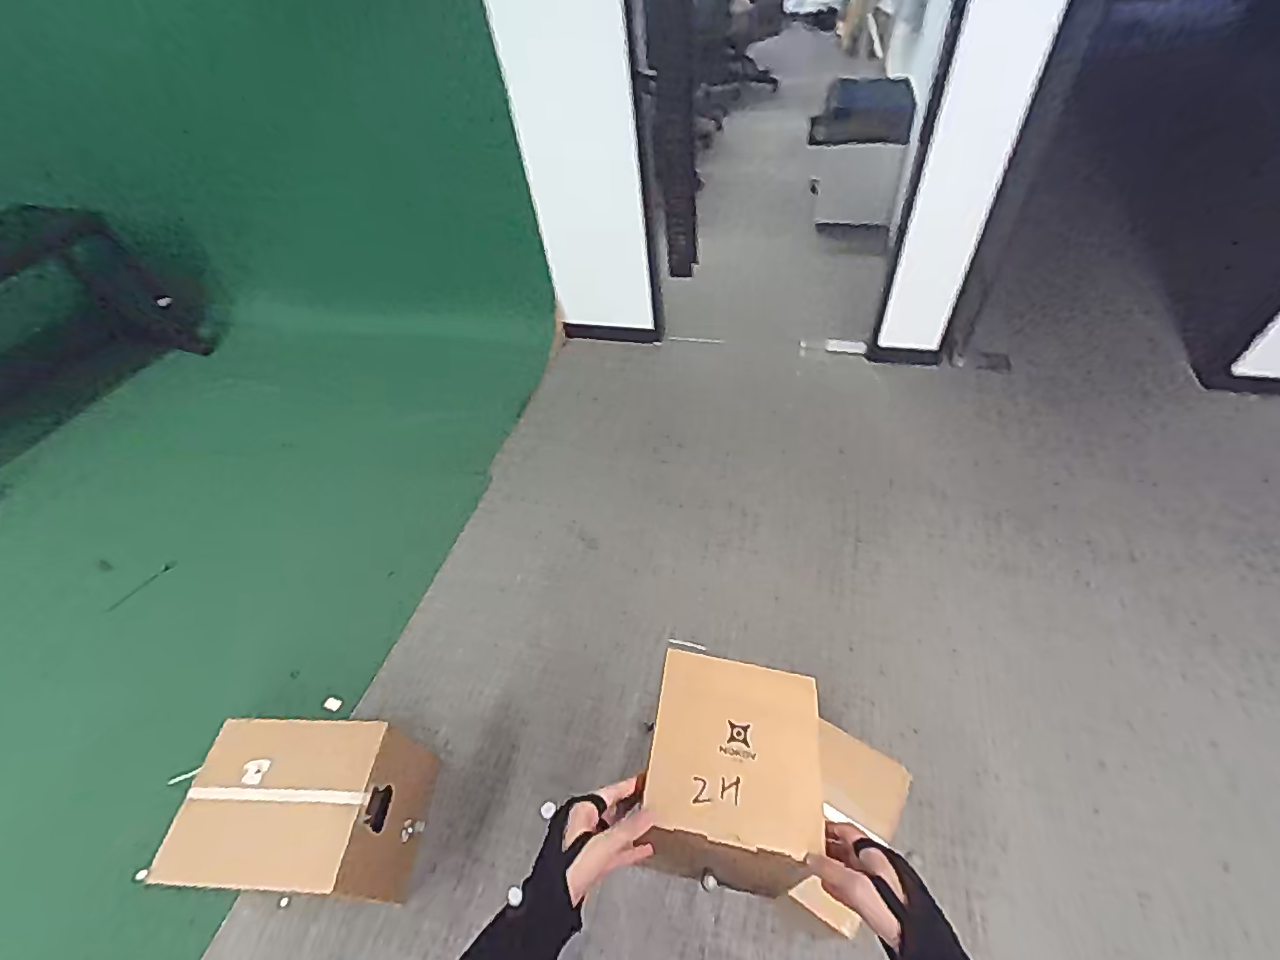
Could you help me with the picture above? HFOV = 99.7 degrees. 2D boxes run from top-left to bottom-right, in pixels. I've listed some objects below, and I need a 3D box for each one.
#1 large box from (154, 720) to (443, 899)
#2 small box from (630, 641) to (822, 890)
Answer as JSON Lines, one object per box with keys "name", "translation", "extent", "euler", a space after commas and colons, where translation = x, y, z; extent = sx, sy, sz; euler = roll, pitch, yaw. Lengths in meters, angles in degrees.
{"name": "large box", "translation": [-0.735, 0.761, 1.245], "extent": [0.408, 0.320, 0.320], "euler": [-2, 48, 7]}
{"name": "small box", "translation": [0.086, 0.308, 0.585], "extent": [0.168, 0.176, 0.179], "euler": [10, 45, 5]}
